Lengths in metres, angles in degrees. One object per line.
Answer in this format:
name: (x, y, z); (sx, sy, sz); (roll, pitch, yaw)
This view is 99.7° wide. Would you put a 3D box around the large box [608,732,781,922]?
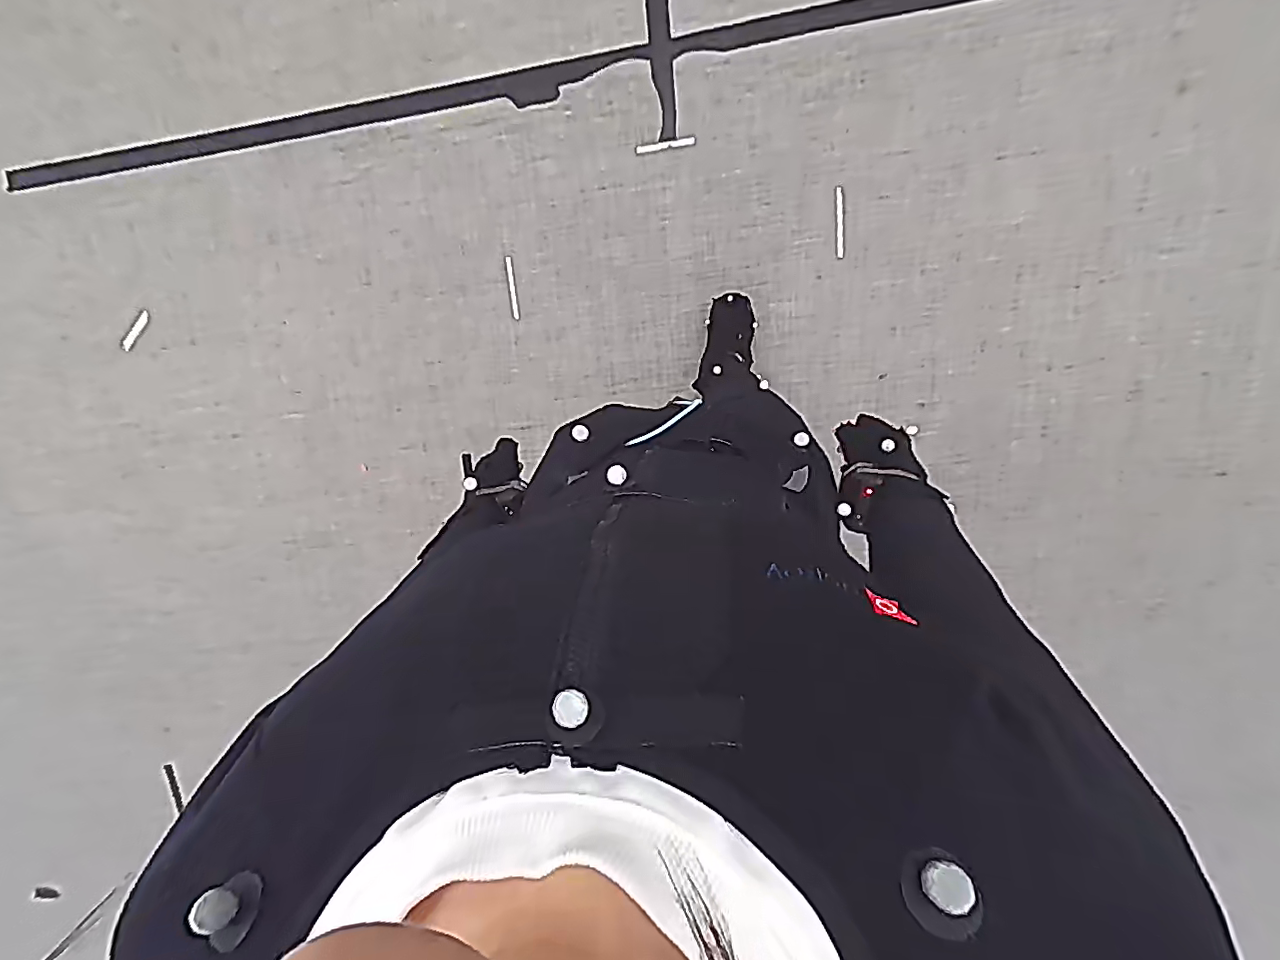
large box: (0.148, 0.942, 1.495); (0.408, 0.320, 0.320); (-7, 103, 6)
